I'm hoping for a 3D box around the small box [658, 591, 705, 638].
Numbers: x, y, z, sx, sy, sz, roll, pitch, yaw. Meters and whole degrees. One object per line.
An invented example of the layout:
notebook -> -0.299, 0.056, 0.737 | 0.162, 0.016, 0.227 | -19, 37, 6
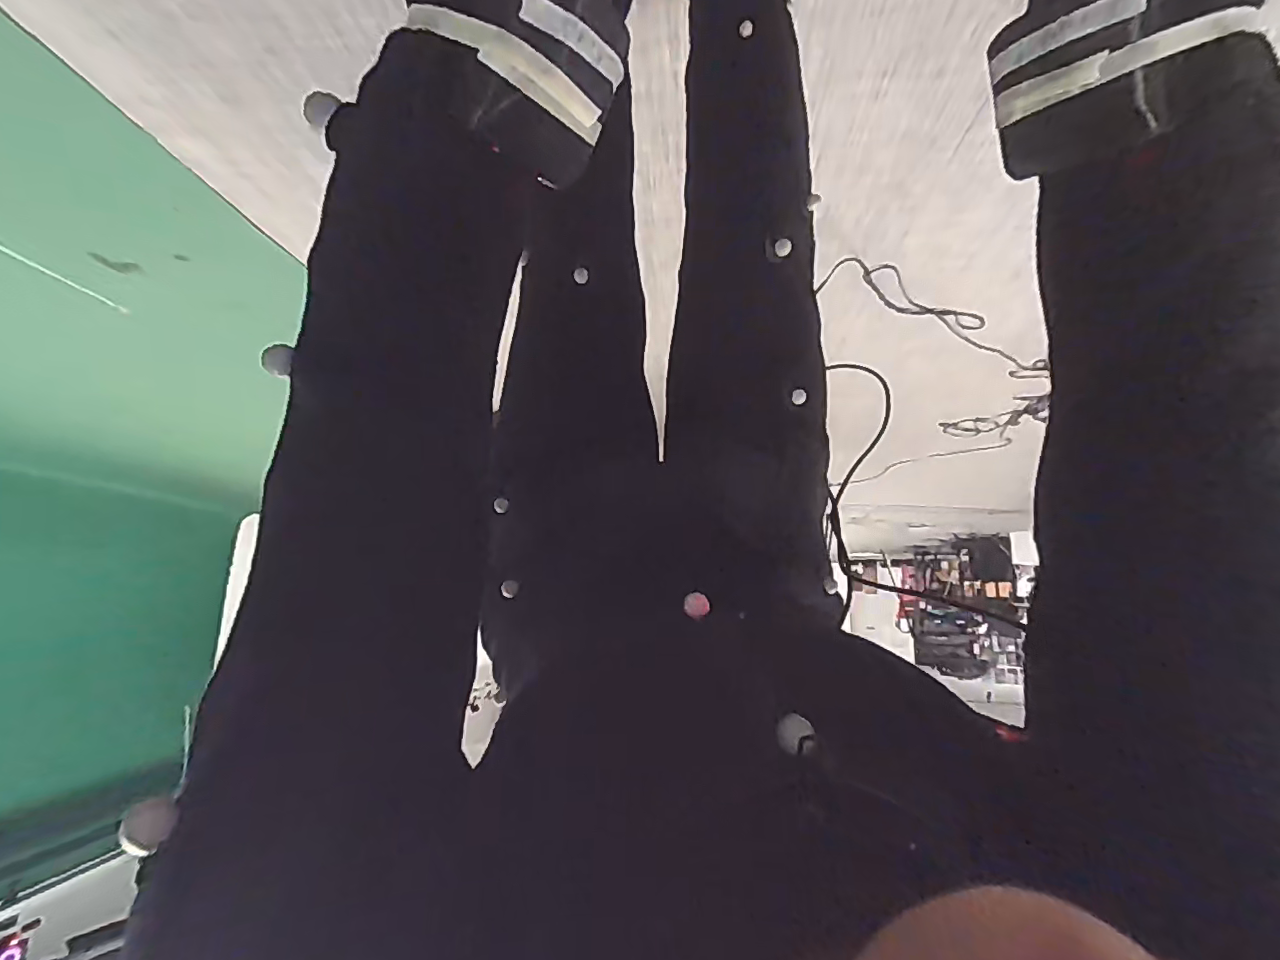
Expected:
small box -> 0.170, 0.535, 2.162 | 0.168, 0.176, 0.179 | -2, 167, 15
